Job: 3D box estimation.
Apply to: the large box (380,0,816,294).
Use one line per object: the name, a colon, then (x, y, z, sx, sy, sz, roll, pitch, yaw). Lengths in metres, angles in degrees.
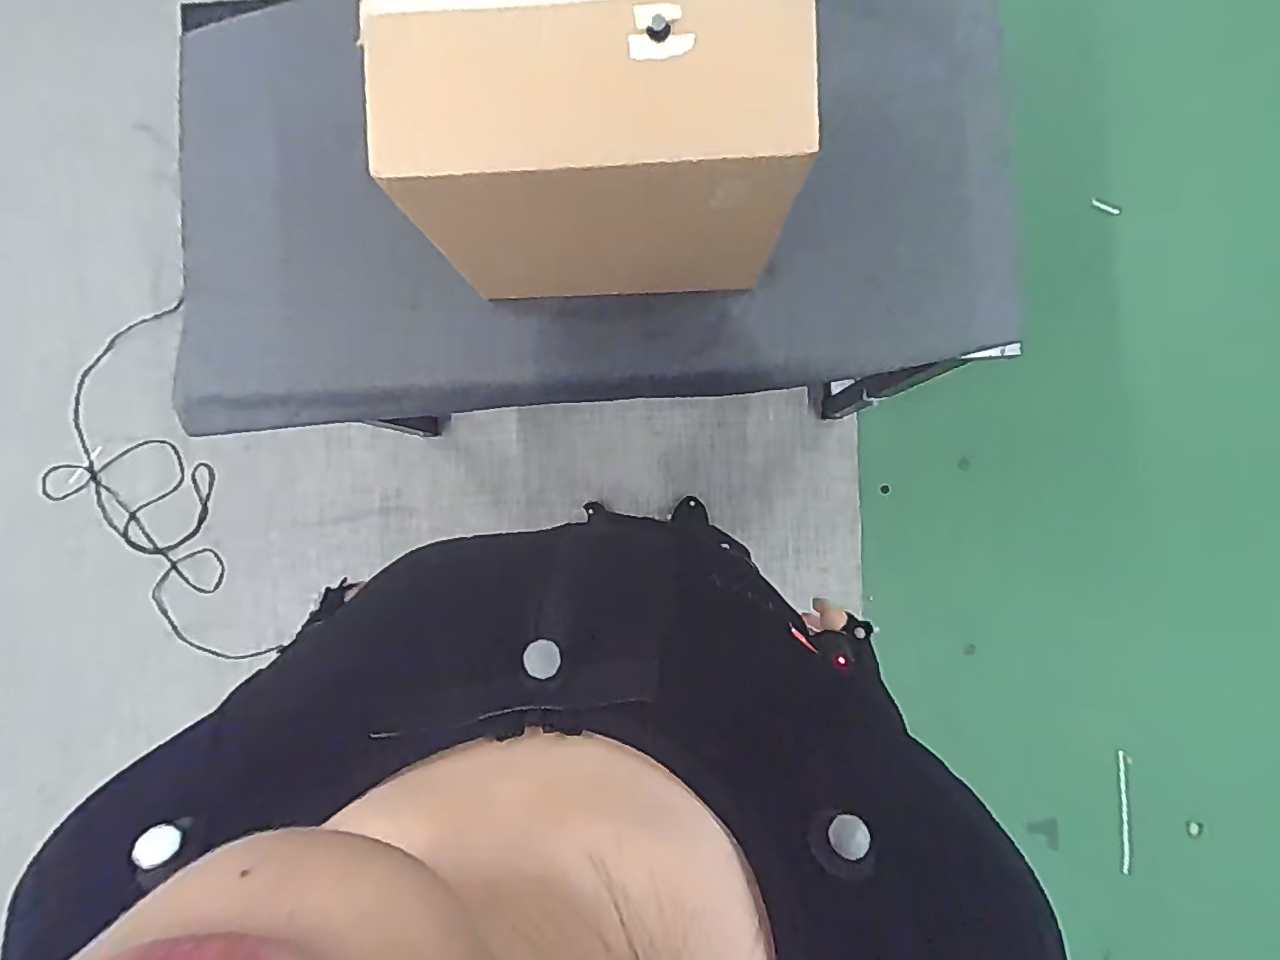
large box: (-0.042, -0.438, 0.647, 0.408, 0.320, 0.320, -2, 89, 2)
